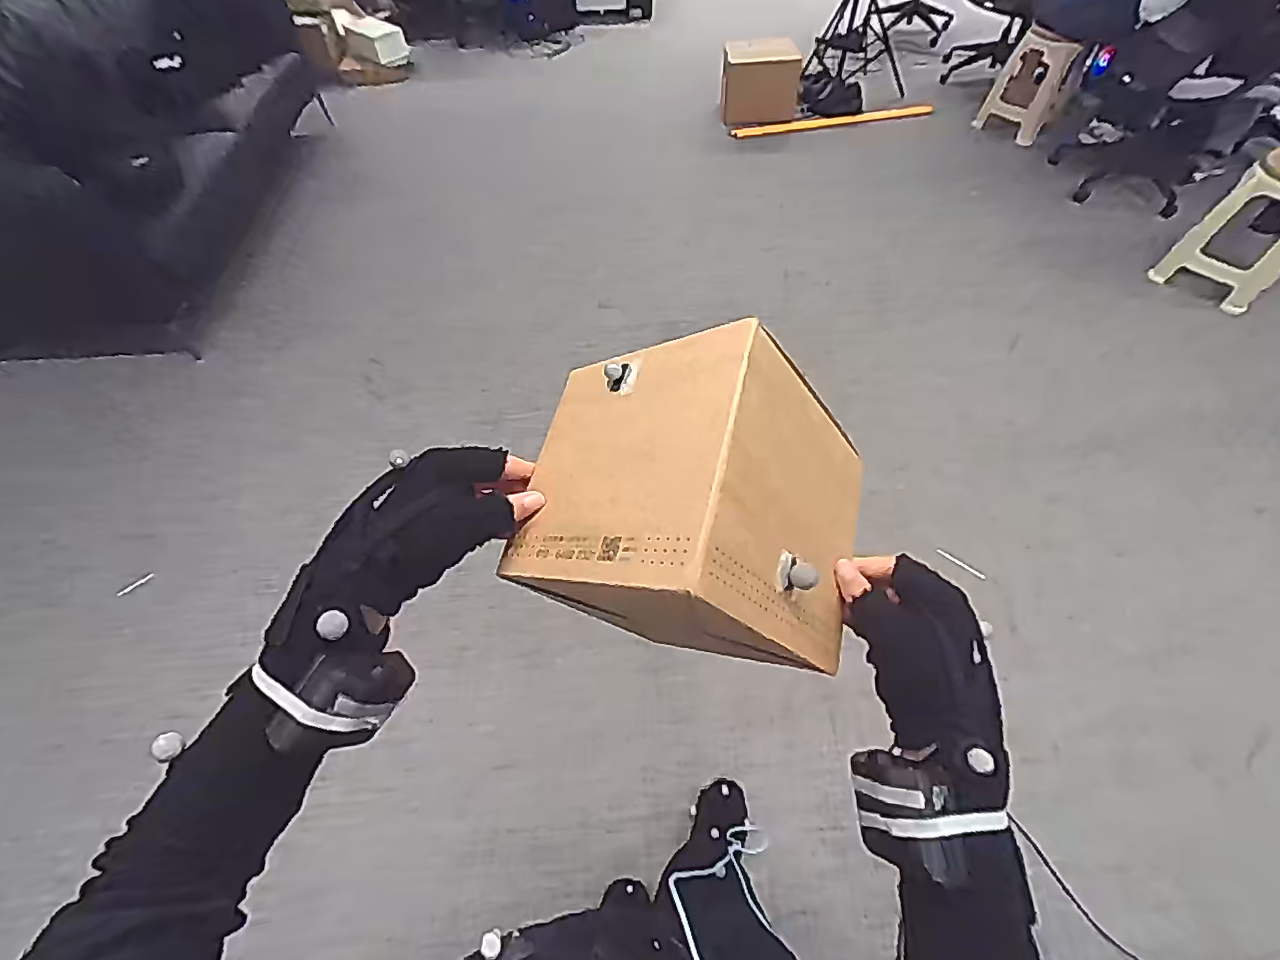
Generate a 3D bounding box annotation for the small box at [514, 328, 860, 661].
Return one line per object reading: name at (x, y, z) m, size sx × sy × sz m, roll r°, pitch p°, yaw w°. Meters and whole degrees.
small box at (0.040, 0.027, 0.399) m, size 0.168 × 0.179 × 0.176 m, roll -7°, pitch 57°, yaw 43°
